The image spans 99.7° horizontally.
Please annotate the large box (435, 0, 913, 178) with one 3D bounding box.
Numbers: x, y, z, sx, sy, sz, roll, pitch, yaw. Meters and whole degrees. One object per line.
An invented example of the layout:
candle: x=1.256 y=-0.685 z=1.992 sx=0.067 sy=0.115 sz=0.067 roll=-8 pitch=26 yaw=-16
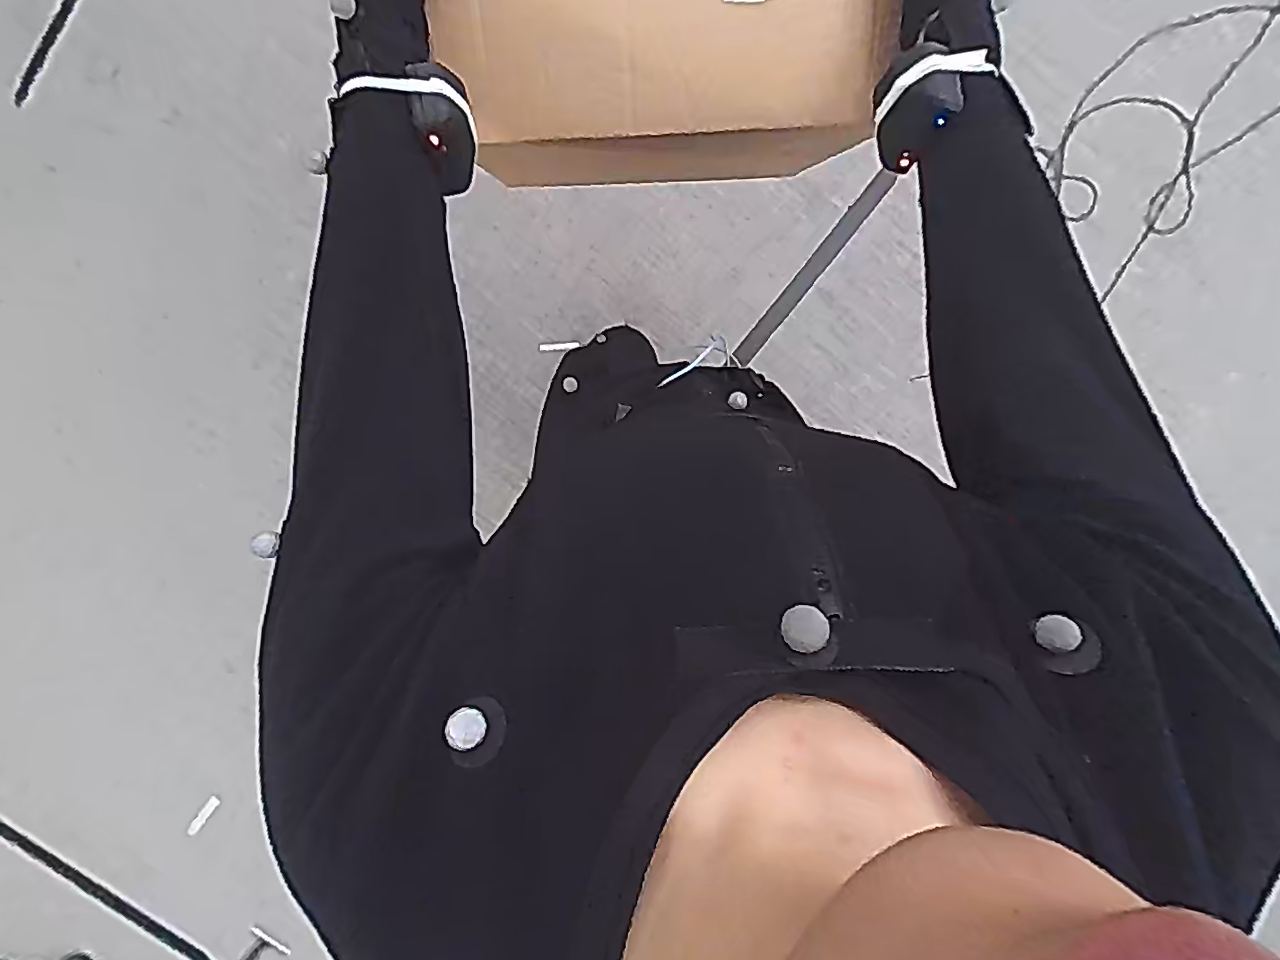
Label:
large box: x=0.020 y=-0.513 z=0.555 sx=0.408 sy=0.320 sz=0.320 roll=-3 pitch=113 yaw=-2
